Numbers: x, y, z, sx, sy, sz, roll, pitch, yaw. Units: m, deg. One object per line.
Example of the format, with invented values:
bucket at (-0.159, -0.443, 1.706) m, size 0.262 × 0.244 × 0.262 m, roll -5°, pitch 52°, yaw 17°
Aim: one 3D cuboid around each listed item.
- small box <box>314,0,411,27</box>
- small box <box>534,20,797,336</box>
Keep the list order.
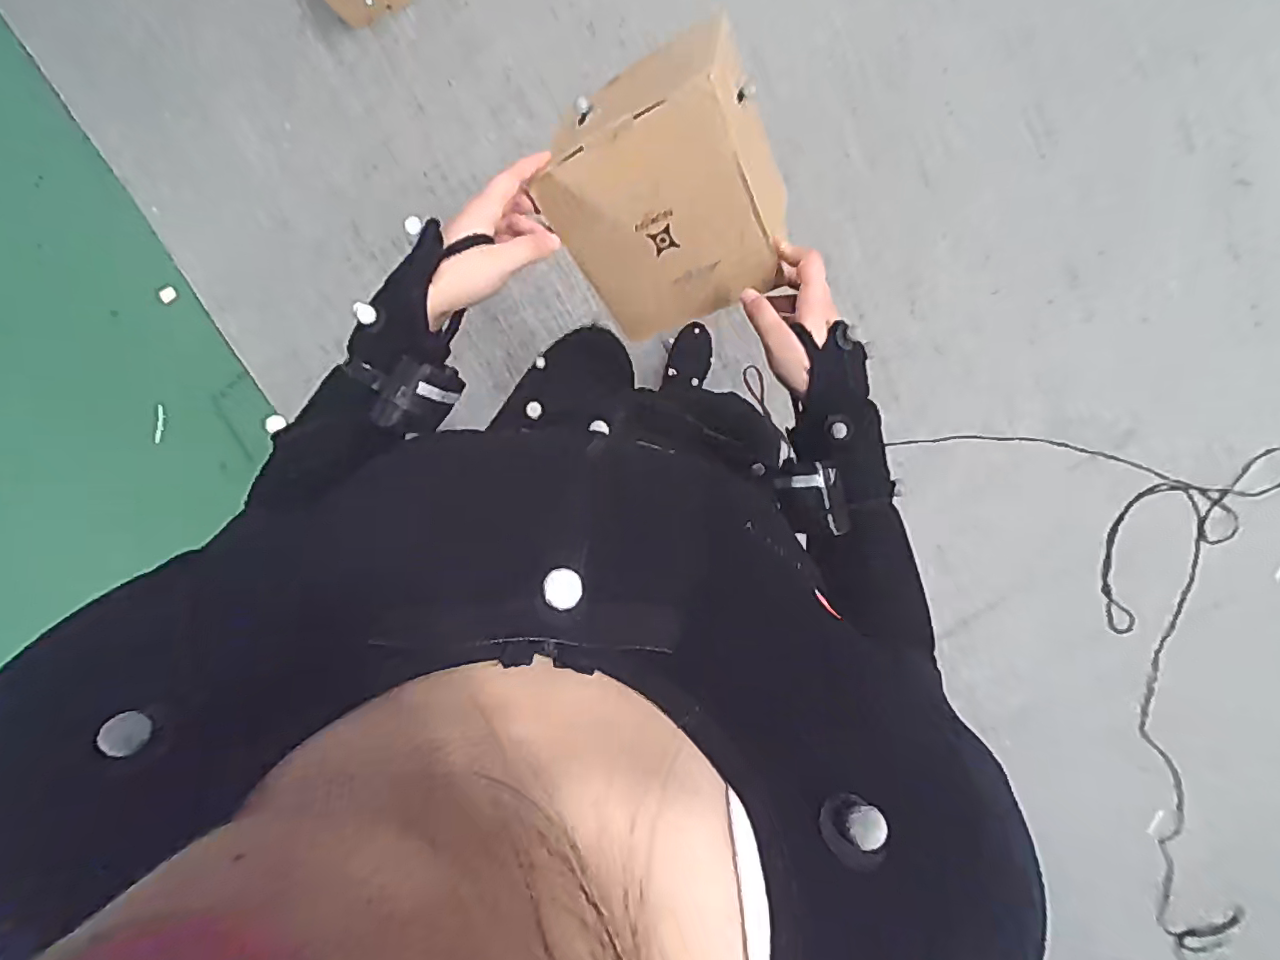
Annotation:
small box at (-0.627, -1.123, 1.159) m, size 0.168 × 0.176 × 0.179 m, roll -15°, pitch 104°, yaw 8°
small box at (0.035, -0.272, 0.495) m, size 0.168 × 0.176 × 0.179 m, roll -12°, pitch 139°, yaw 29°
